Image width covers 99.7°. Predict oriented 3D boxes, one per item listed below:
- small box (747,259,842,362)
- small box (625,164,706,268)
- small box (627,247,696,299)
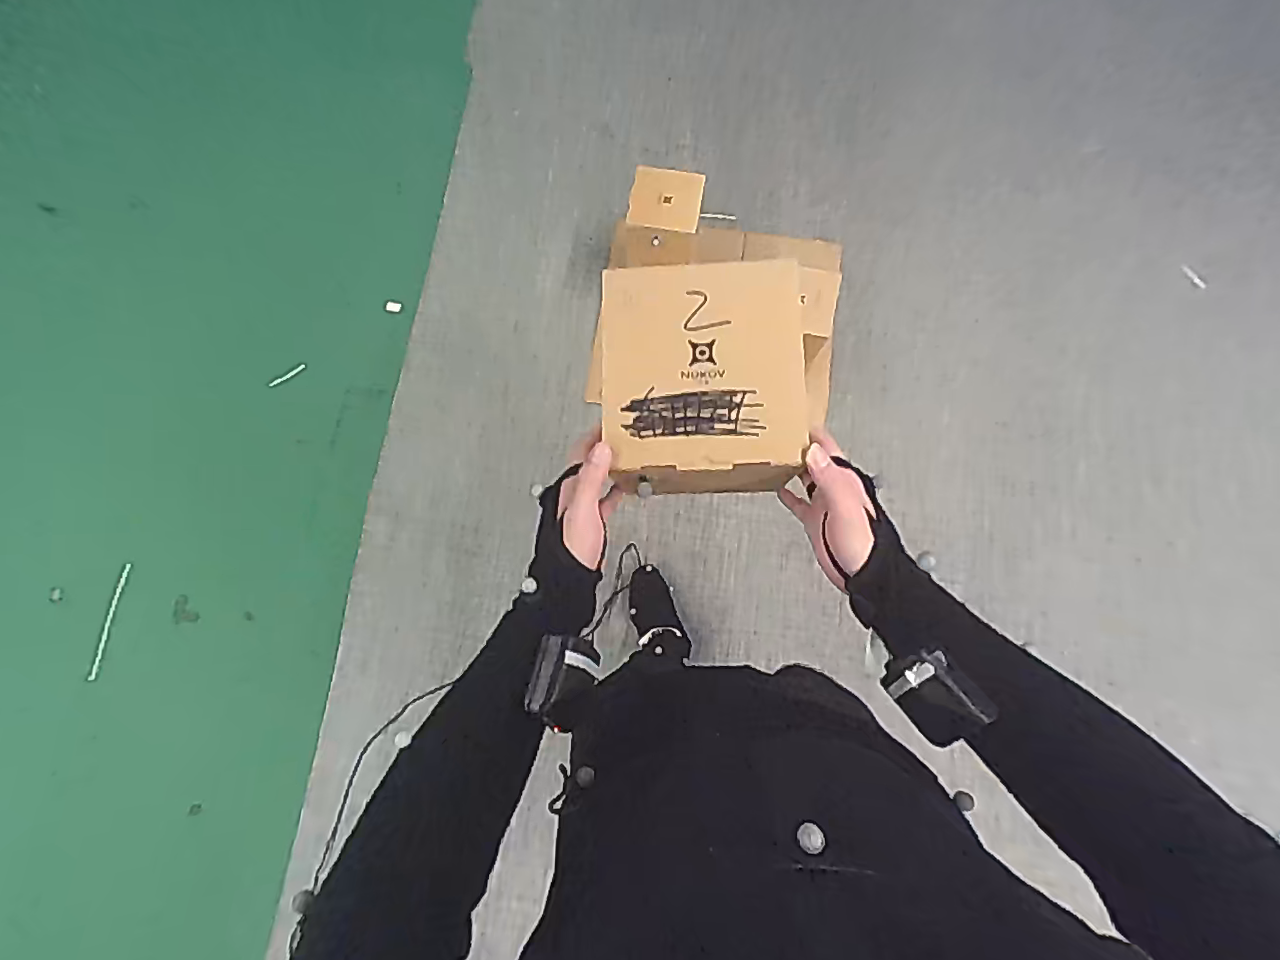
[{"bbox_3d":[0.371,-0.409,1.329,0.179,0.176,0.168,13,80,5],"label":"small box"},{"bbox_3d":[0.066,-0.669,1.388,0.179,0.176,0.168,9,80,4],"label":"small box"},{"bbox_3d":[0.065,-0.639,1.547,0.179,0.176,0.168,10,79,4],"label":"small box"}]
